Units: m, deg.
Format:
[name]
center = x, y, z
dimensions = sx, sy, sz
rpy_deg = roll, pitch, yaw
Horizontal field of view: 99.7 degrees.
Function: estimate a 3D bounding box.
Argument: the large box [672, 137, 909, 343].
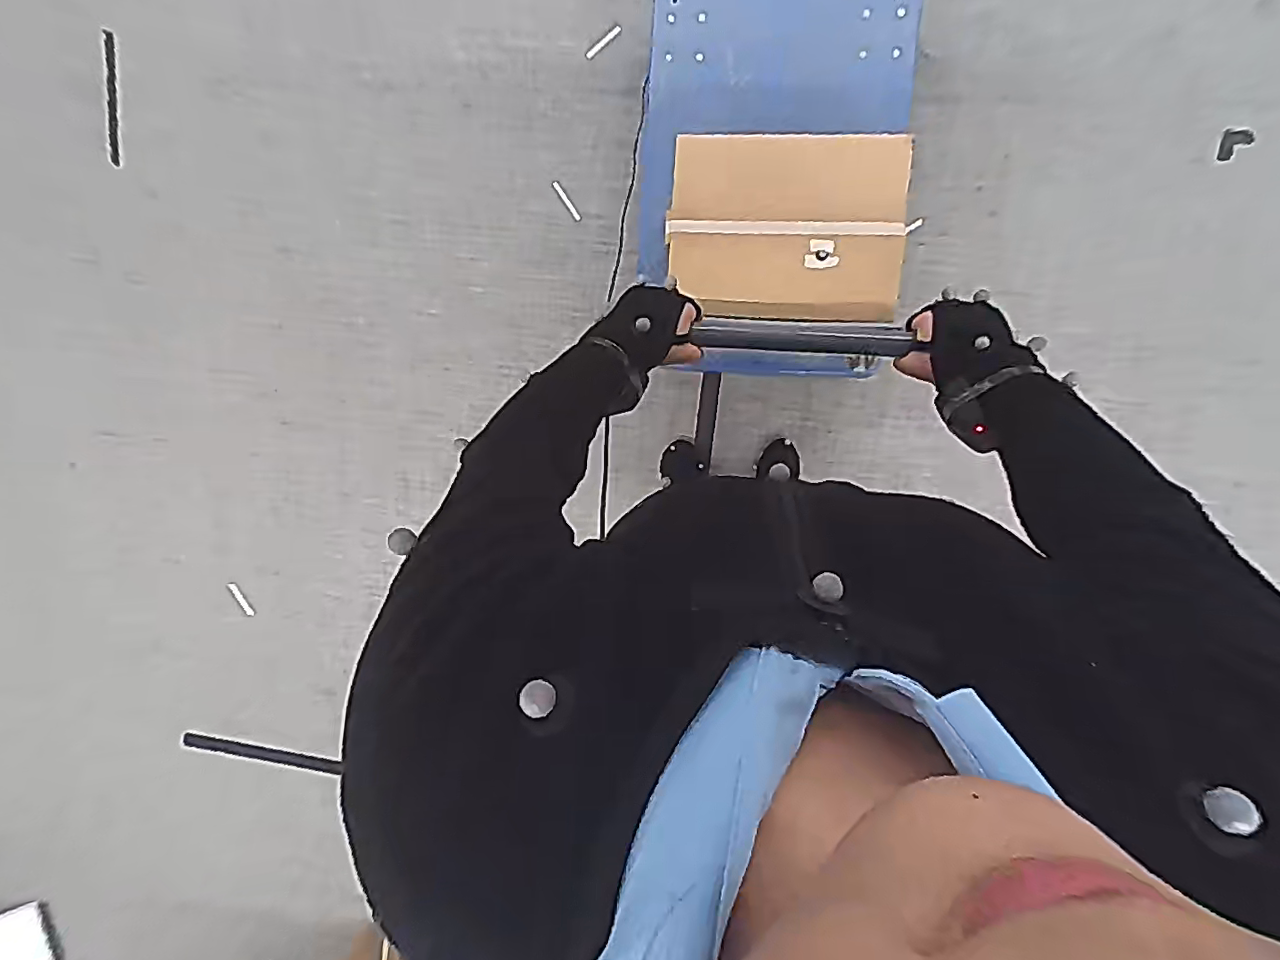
[large box]
center = 0.275, -0.464, 1.113
dimensions = 0.408, 0.320, 0.320
rpy_deg = 4, 97, 6
